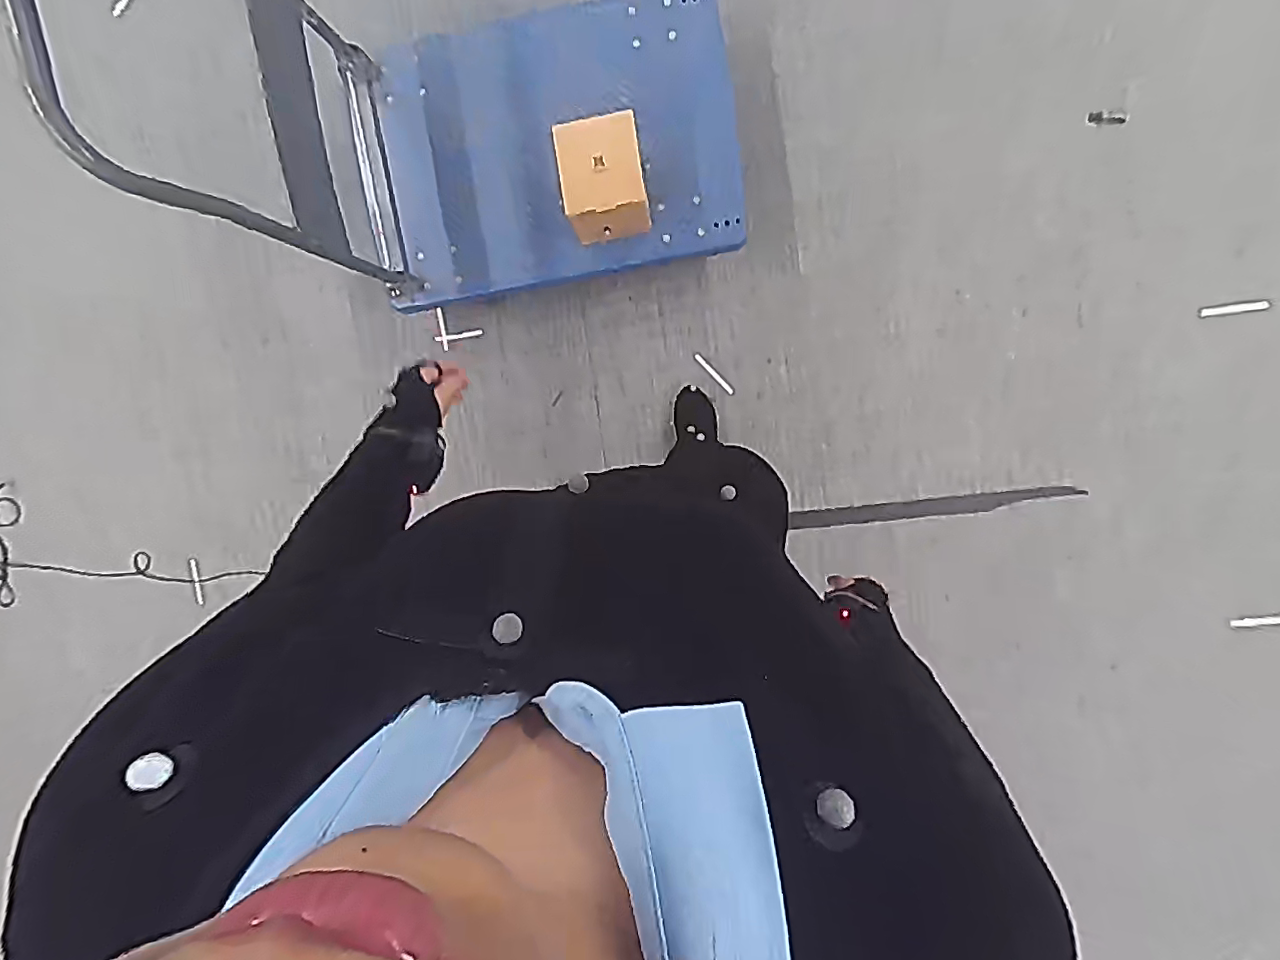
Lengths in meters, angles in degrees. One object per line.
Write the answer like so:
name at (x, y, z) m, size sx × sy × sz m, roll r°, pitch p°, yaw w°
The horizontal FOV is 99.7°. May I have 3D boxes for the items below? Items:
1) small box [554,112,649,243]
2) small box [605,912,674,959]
small box at (-0.075, -0.630, 1.148) m, size 0.168 × 0.176 × 0.179 m, roll -9°, pitch 95°, yaw 5°
small box at (0.002, 1.240, 1.356) m, size 0.168 × 0.176 × 0.179 m, roll -2°, pitch 95°, yaw 4°
